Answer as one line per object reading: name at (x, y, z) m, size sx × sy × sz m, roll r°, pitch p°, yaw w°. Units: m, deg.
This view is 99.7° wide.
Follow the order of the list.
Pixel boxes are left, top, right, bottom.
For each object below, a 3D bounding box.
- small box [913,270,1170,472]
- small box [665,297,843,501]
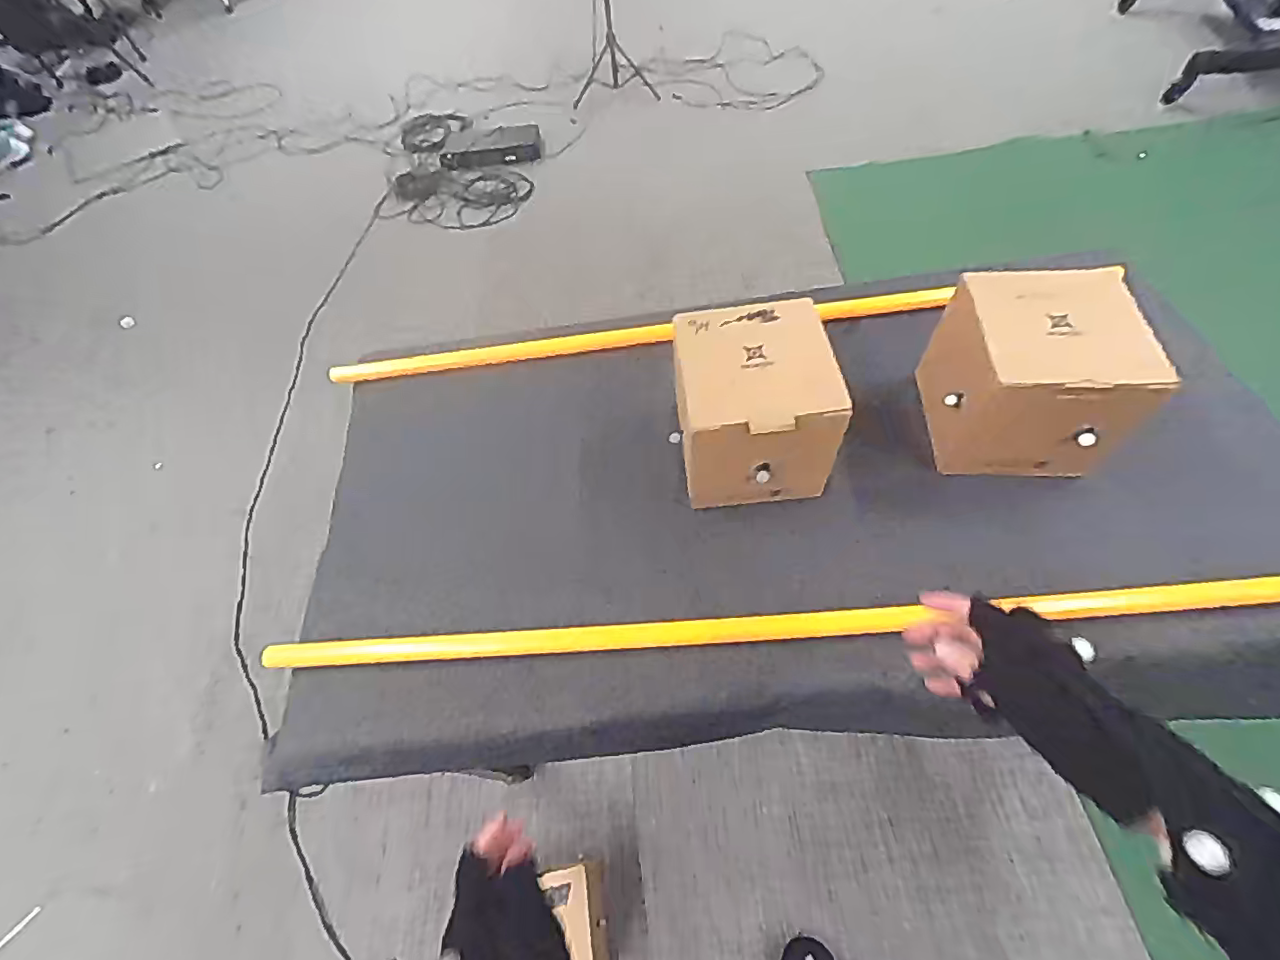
small box at (0.449, -0.122, 0.644) m, size 0.168 × 0.176 × 0.179 m, roll 1°, pitch 56°, yaw 7°
small box at (0.129, -0.088, 0.661) m, size 0.168 × 0.176 × 0.179 m, roll -9°, pitch 57°, yaw 2°
